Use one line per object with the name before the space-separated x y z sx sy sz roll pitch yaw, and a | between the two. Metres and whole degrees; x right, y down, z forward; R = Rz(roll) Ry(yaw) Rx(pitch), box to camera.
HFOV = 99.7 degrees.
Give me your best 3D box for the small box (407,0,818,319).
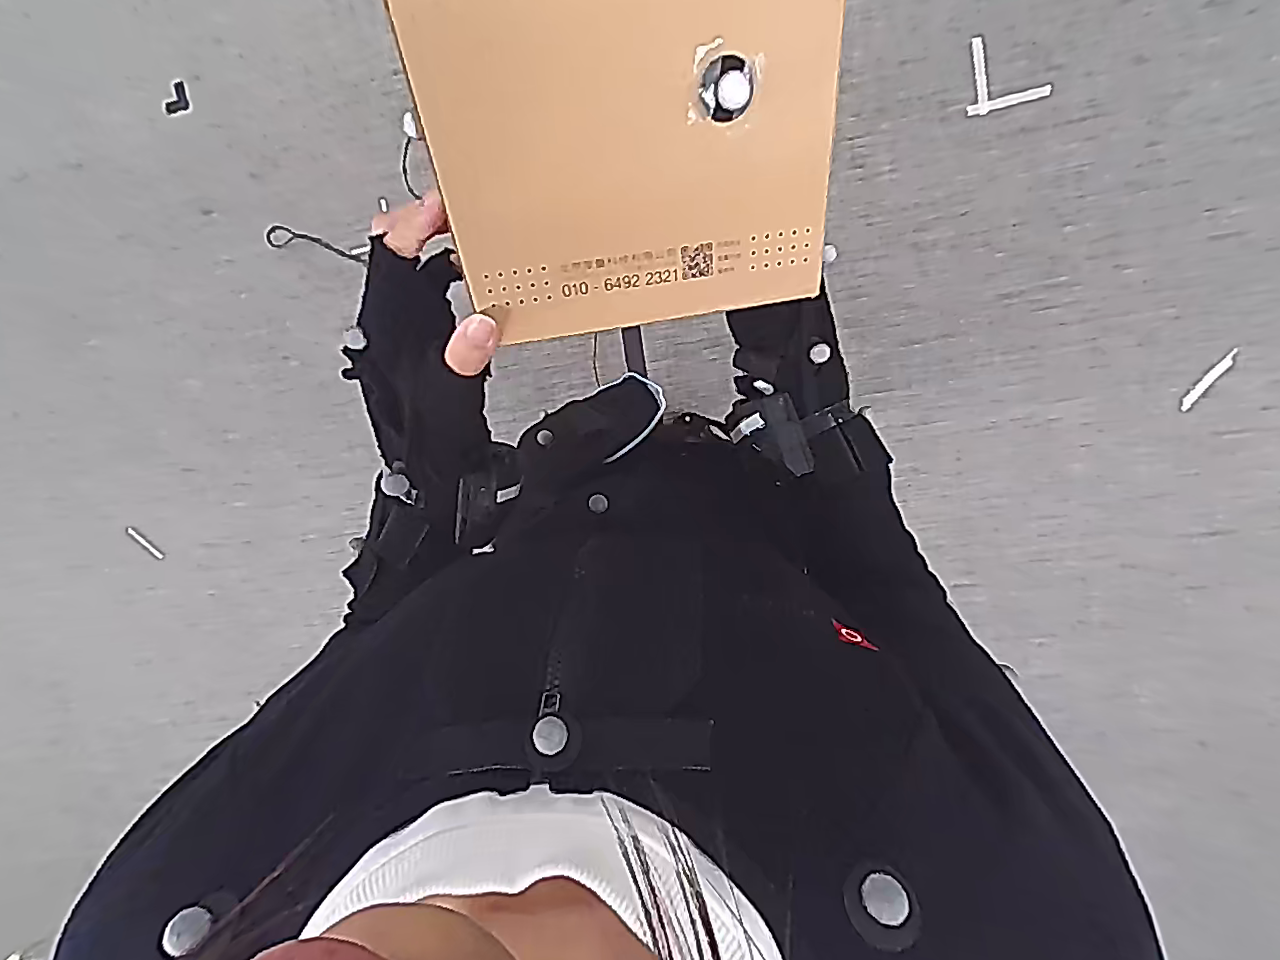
small box | -0.011 -0.197 0.298 0.168 0.179 0.176 -9 126 -4
